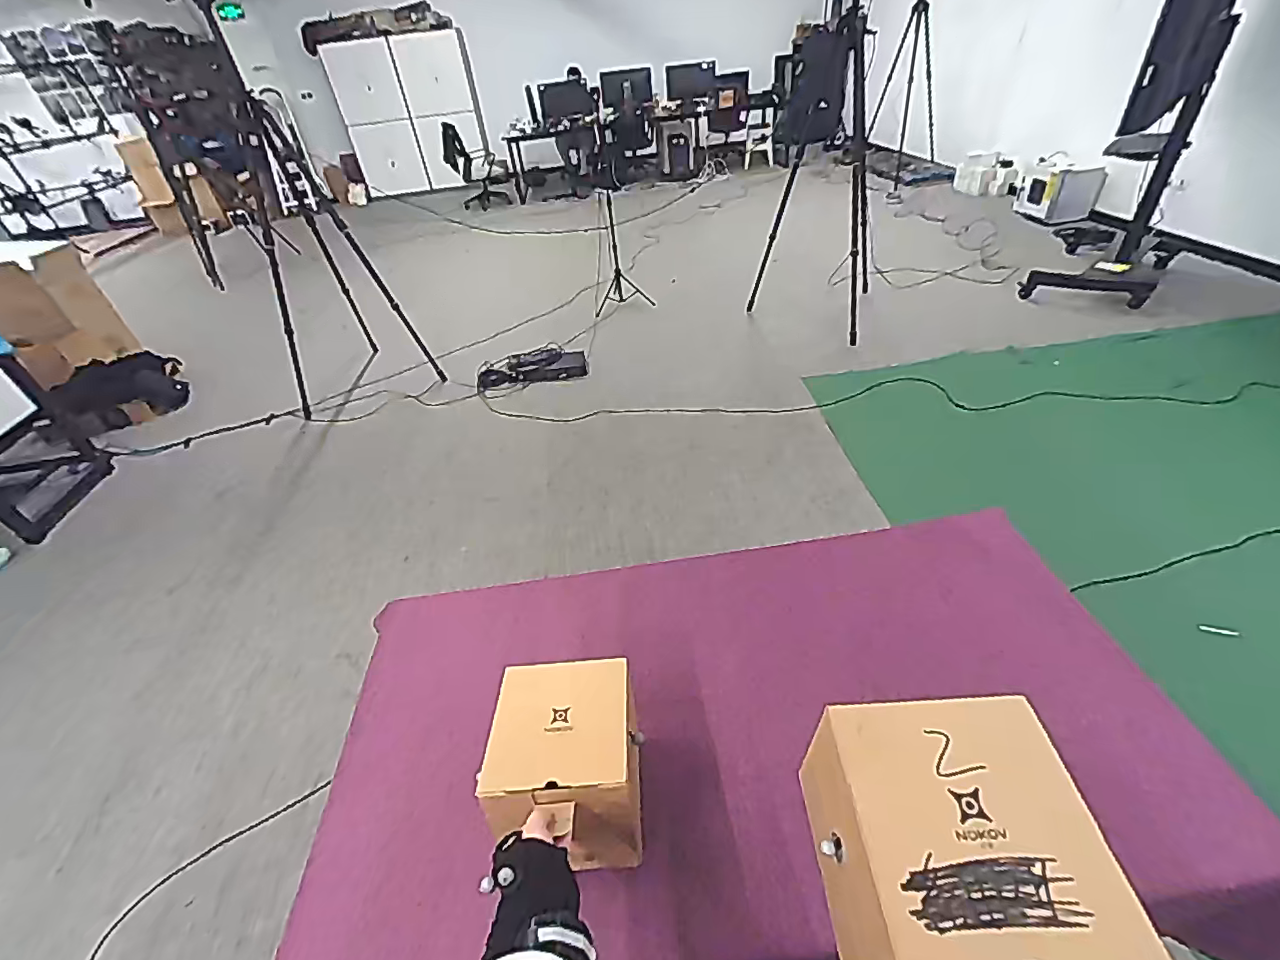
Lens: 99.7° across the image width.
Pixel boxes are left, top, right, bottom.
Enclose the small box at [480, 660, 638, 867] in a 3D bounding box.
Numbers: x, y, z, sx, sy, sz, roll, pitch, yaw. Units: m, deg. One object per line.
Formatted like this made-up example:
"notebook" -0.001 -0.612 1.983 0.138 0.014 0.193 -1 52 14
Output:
"small box" -0.092 0.364 0.705 0.168 0.176 0.179 -5 30 1
